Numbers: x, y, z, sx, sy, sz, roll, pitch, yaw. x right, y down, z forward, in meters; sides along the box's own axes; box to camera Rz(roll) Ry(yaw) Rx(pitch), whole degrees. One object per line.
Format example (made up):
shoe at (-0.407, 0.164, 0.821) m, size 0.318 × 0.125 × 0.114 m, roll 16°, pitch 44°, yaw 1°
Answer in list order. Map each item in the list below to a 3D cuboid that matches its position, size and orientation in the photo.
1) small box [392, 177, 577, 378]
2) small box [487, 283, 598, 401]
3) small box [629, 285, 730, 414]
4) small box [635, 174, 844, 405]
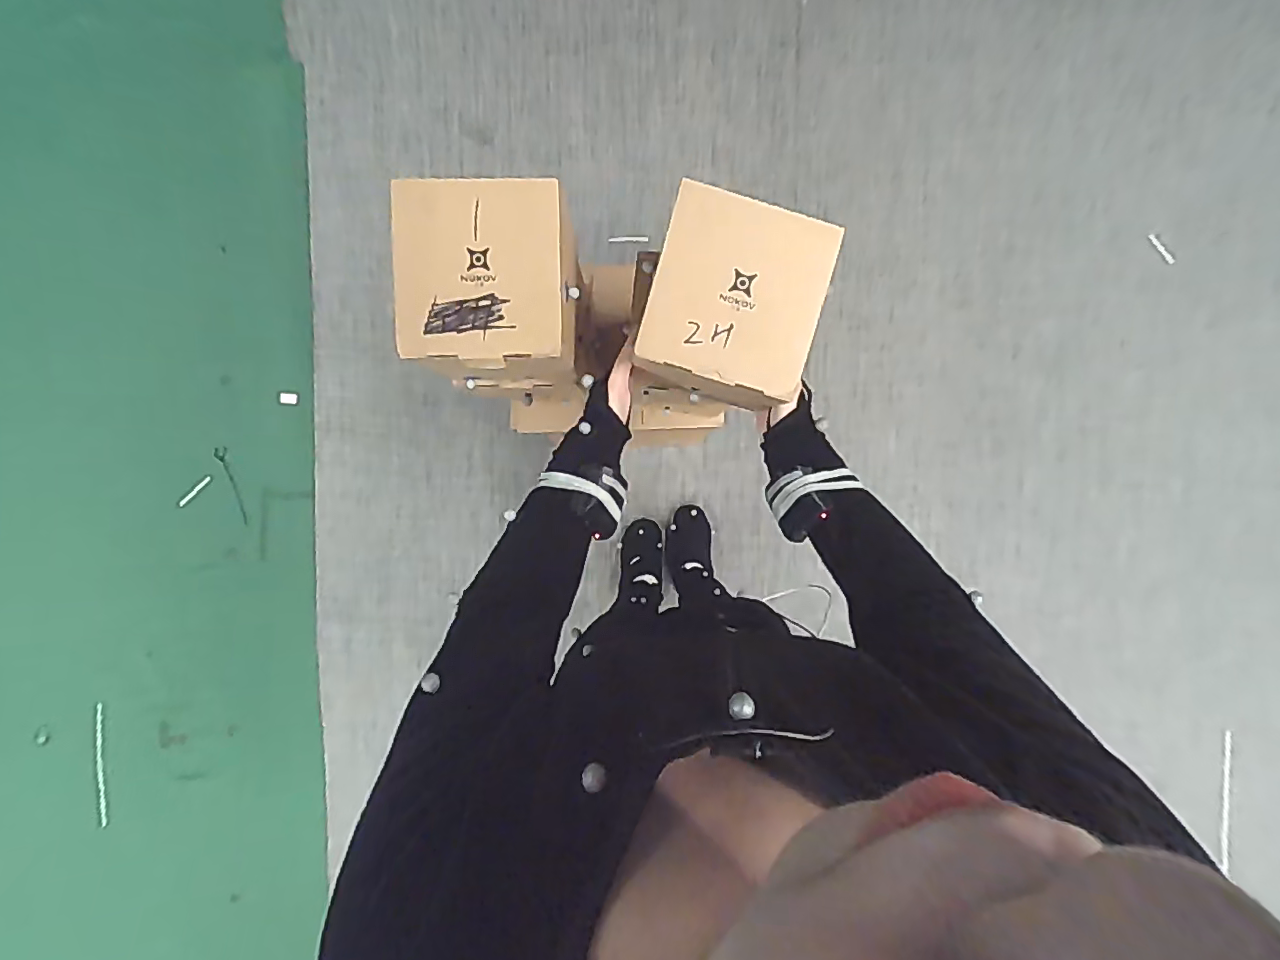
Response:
small box at (-0.161, -0.213, 0.611) m, size 0.168 × 0.176 × 0.179 m, roll -1°, pitch 91°, yaw -1°
small box at (-0.161, -0.231, 0.939) m, size 0.168 × 0.176 × 0.179 m, roll 1°, pitch 92°, yaw -1°
small box at (0.073, -0.215, 0.932) m, size 0.168 × 0.176 × 0.179 m, roll 6°, pitch 93°, yaw 2°
small box at (0.092, -0.190, 0.596) m, size 0.168 × 0.176 × 0.179 m, roll 16°, pitch 94°, yaw -3°
